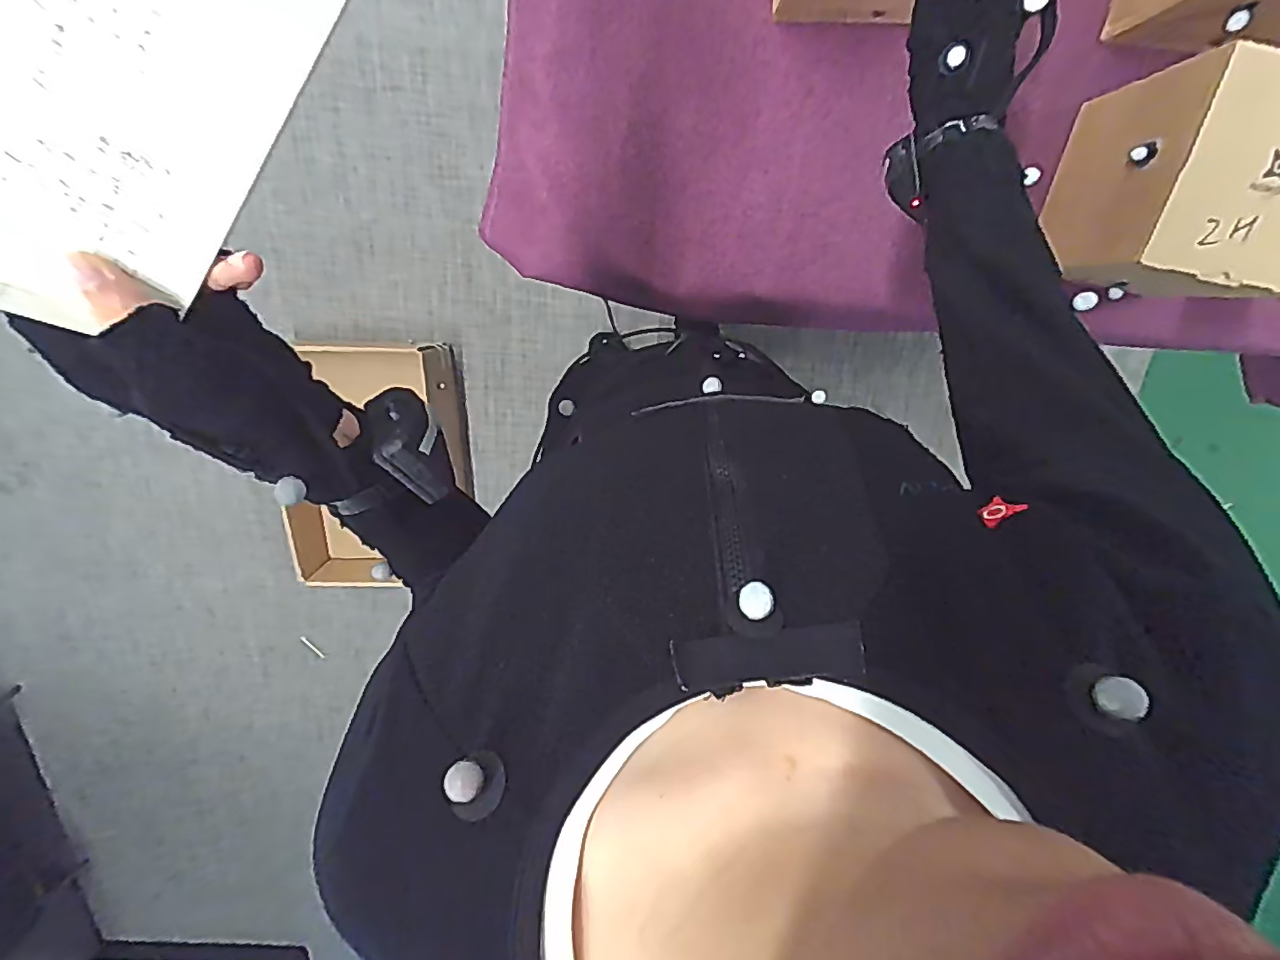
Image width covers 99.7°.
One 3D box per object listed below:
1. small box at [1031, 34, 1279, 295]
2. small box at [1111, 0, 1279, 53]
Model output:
[{"bbox_3d":[0.546,-0.290,0.541,0.168,0.176,0.179,10,109,-3],"label":"small box"},{"bbox_3d":[0.571,-0.505,0.468,0.168,0.176,0.179,4,109,-1],"label":"small box"}]
